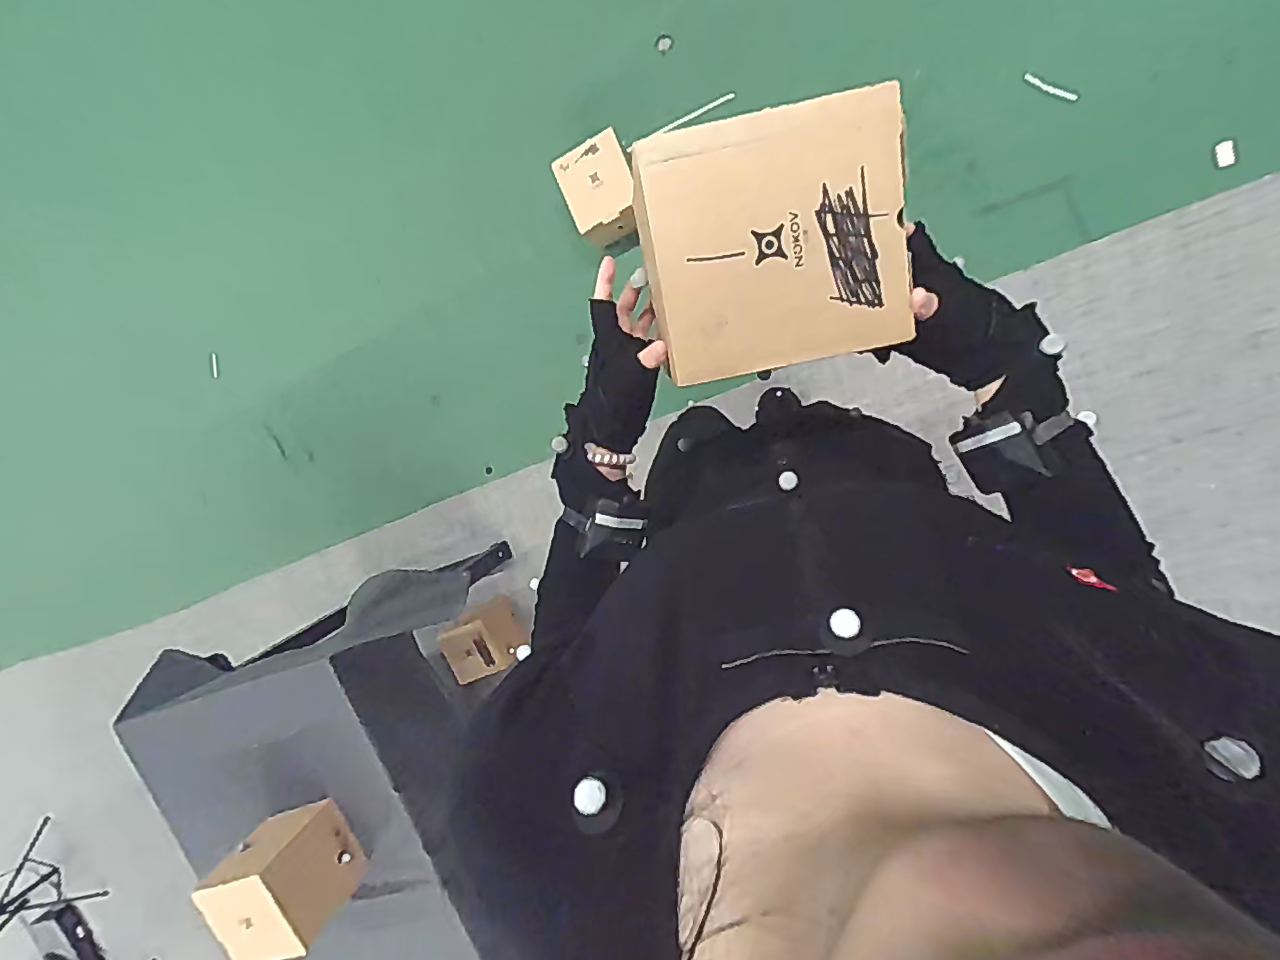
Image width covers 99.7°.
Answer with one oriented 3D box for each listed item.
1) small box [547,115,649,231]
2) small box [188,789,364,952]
[{"bbox_3d":[-0.091,-0.723,1.303,0.168,0.176,0.179,-21,99,16],"label":"small box"},{"bbox_3d":[-0.657,0.709,0.994,0.179,0.176,0.168,-23,98,16],"label":"small box"}]
